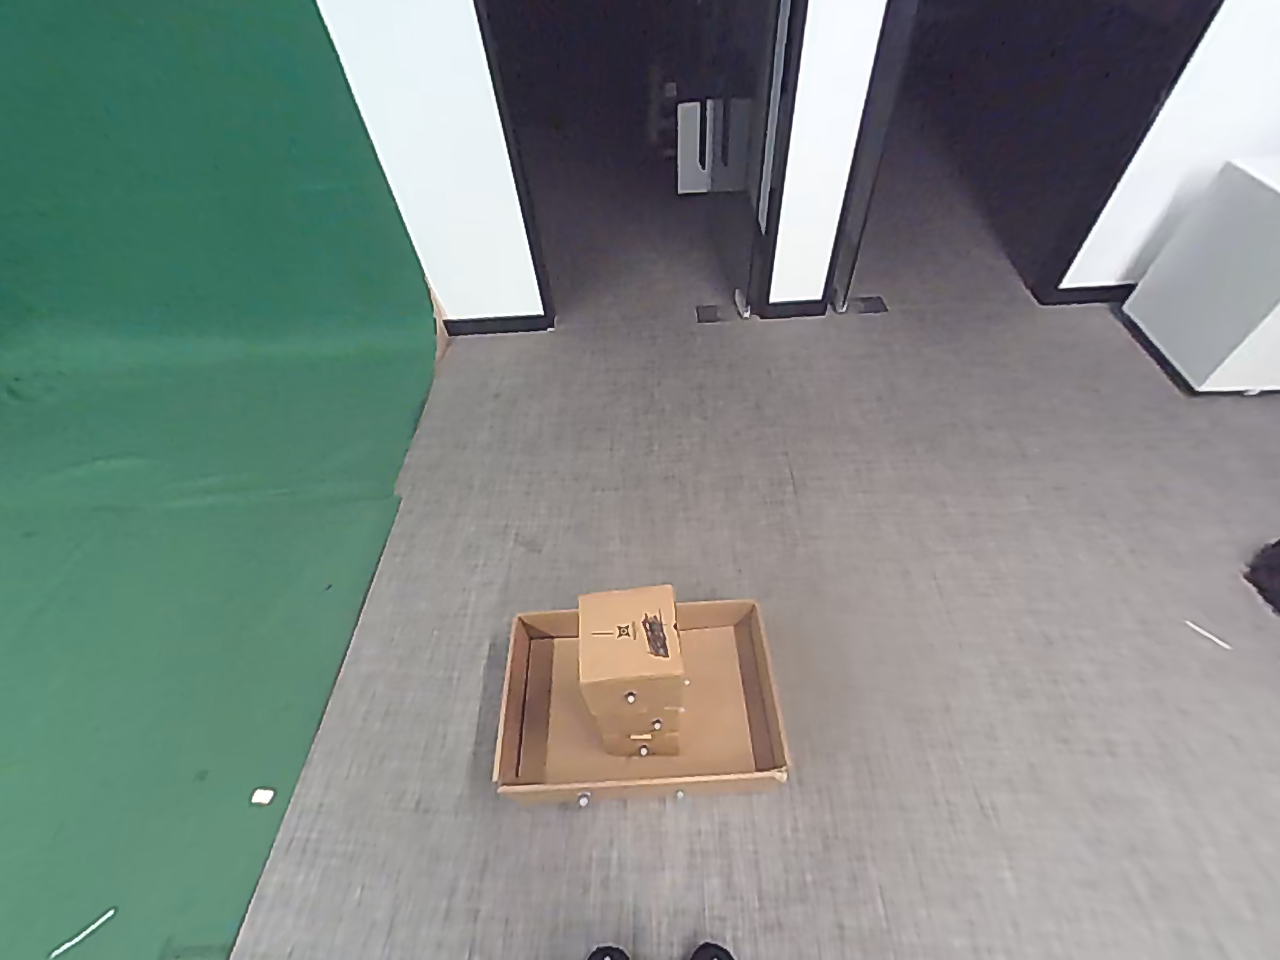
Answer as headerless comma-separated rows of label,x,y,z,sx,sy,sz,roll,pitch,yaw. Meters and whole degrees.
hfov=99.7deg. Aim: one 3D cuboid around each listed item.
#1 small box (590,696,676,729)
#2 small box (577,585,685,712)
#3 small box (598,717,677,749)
small box,-0.010,0.413,1.137,0.168,0.176,0.179,-2,49,2
small box,-0.019,0.315,1.005,0.179,0.176,0.168,-7,51,-3
small box,0.000,0.517,1.260,0.168,0.176,0.179,-2,50,4
